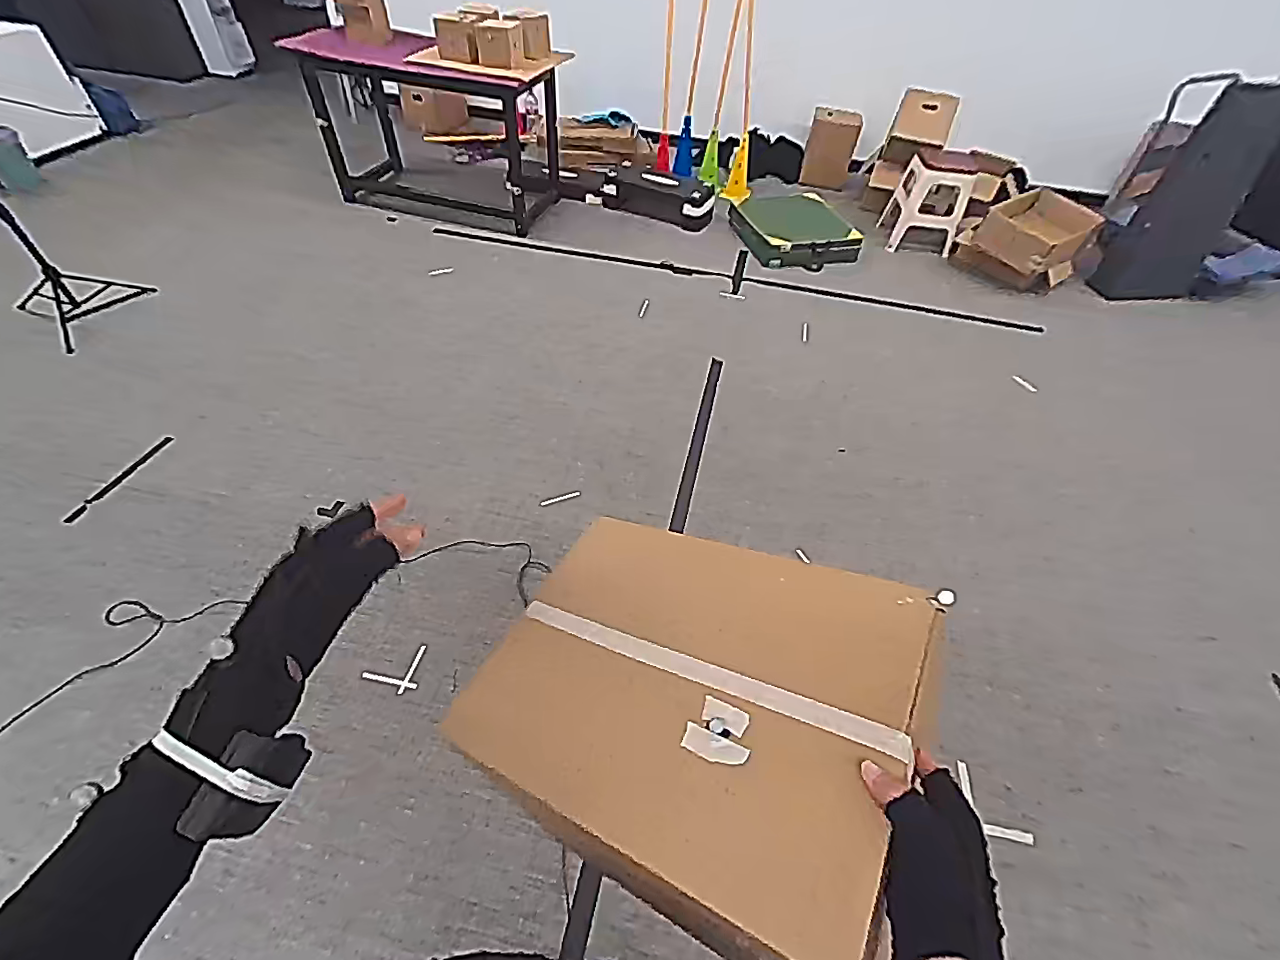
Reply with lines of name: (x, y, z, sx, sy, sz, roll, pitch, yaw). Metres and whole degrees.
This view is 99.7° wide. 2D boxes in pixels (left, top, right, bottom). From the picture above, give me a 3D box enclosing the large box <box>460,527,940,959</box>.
large box: (0.089, 0.297, 0.625, 0.408, 0.320, 0.320, 10, 47, 35)
